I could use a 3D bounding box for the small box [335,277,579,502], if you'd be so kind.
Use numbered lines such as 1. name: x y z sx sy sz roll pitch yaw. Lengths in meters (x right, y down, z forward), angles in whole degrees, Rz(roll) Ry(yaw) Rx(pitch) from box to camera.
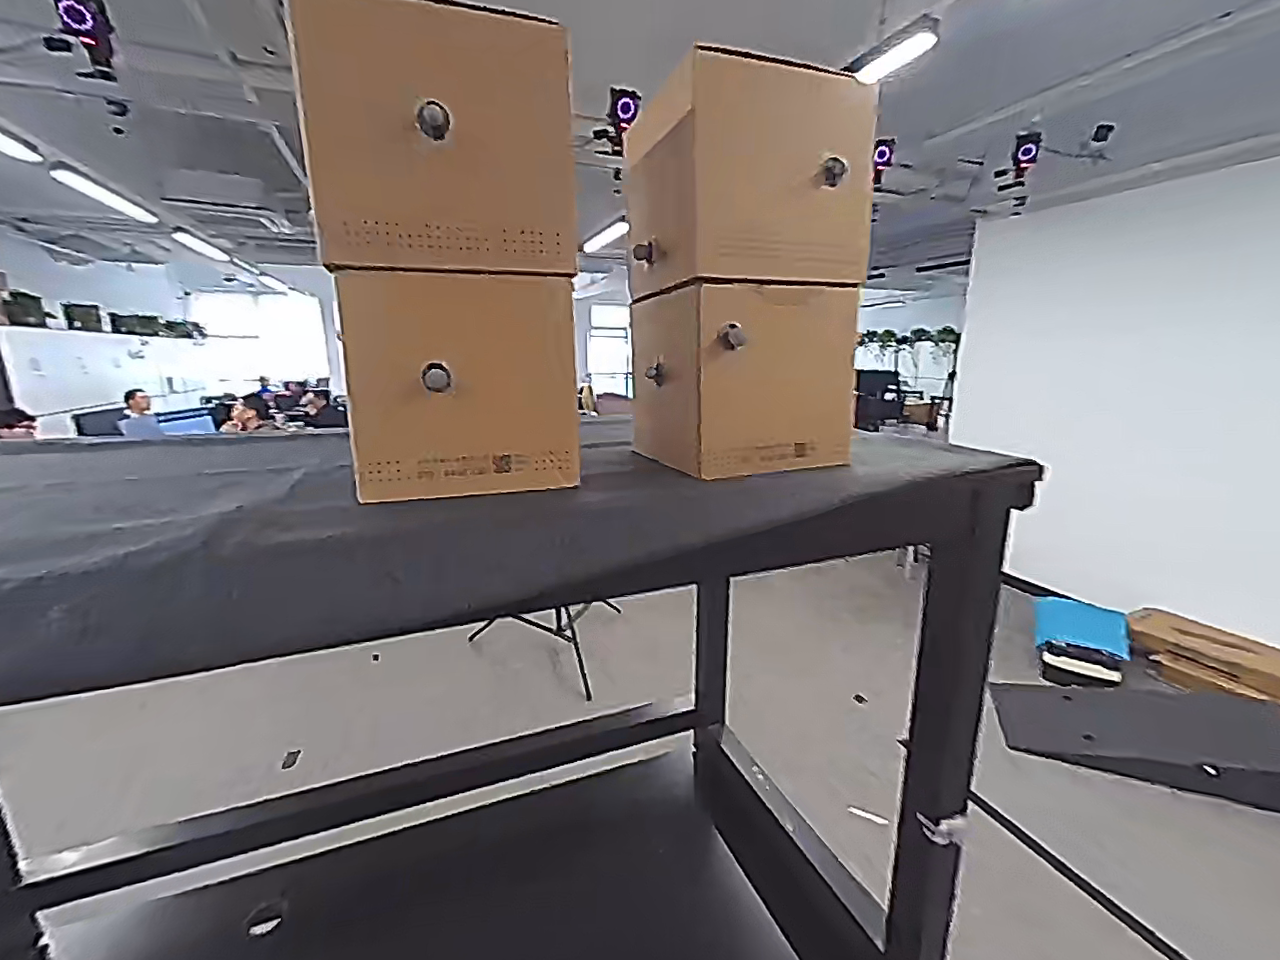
1. small box: -0.152 -0.078 0.480 0.168 0.176 0.179 -5 12 -18

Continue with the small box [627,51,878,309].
1. small box: 0.095 -0.258 0.516 0.179 0.176 0.168 -7 11 -20

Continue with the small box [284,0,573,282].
1. small box: -0.153 -0.237 0.437 0.179 0.176 0.168 -6 12 -17
